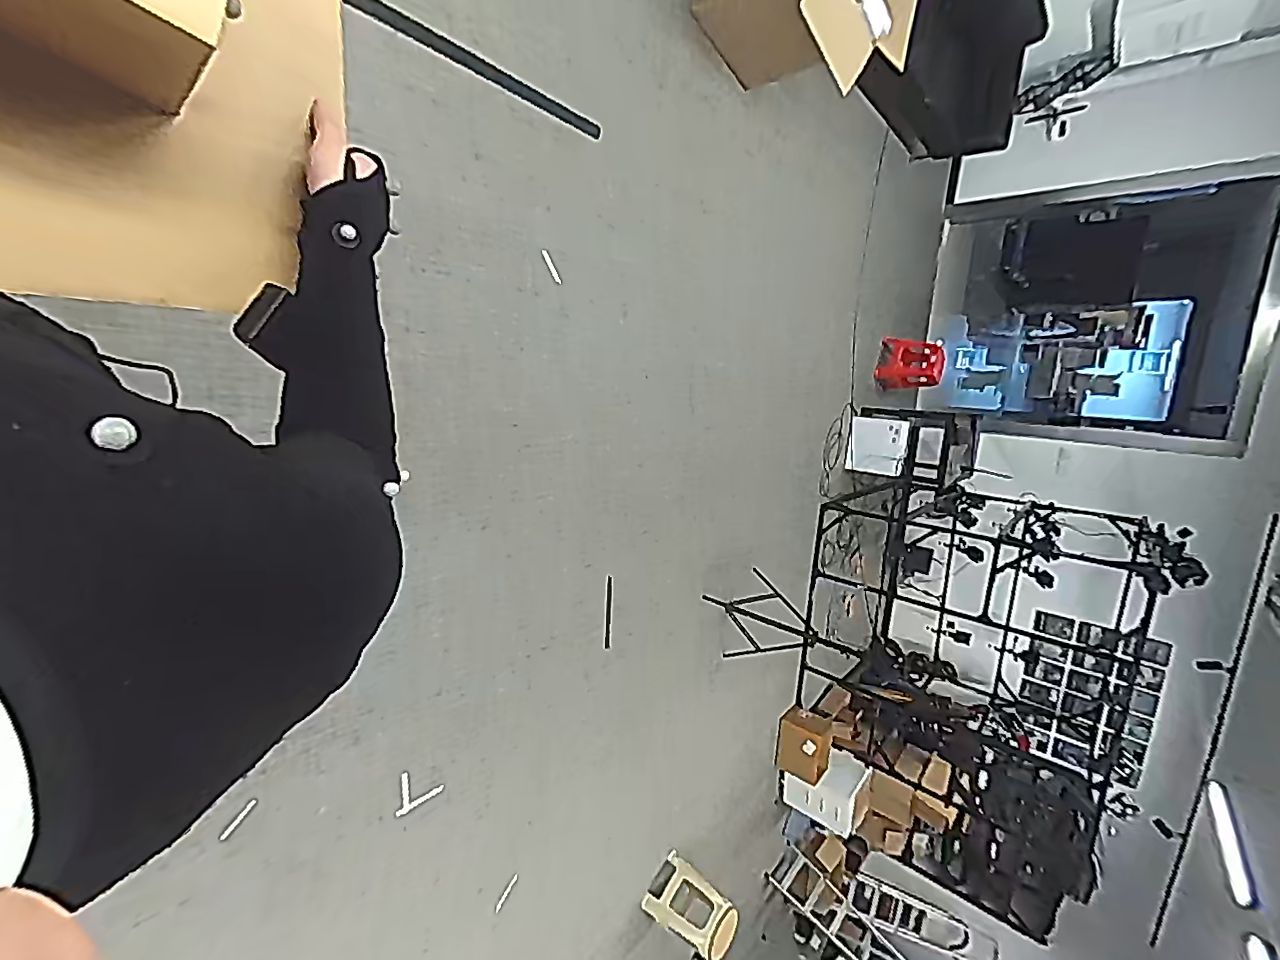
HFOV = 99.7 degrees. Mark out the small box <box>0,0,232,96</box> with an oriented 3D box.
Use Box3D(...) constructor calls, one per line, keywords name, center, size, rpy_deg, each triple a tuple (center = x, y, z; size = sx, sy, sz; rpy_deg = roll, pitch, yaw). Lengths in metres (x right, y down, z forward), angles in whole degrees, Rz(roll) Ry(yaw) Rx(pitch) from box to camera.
Box3D(name="small box", center=(-0.358, -0.370, 0.322), size=(0.179, 0.176, 0.168), rpy_deg=(9, 96, -47))
